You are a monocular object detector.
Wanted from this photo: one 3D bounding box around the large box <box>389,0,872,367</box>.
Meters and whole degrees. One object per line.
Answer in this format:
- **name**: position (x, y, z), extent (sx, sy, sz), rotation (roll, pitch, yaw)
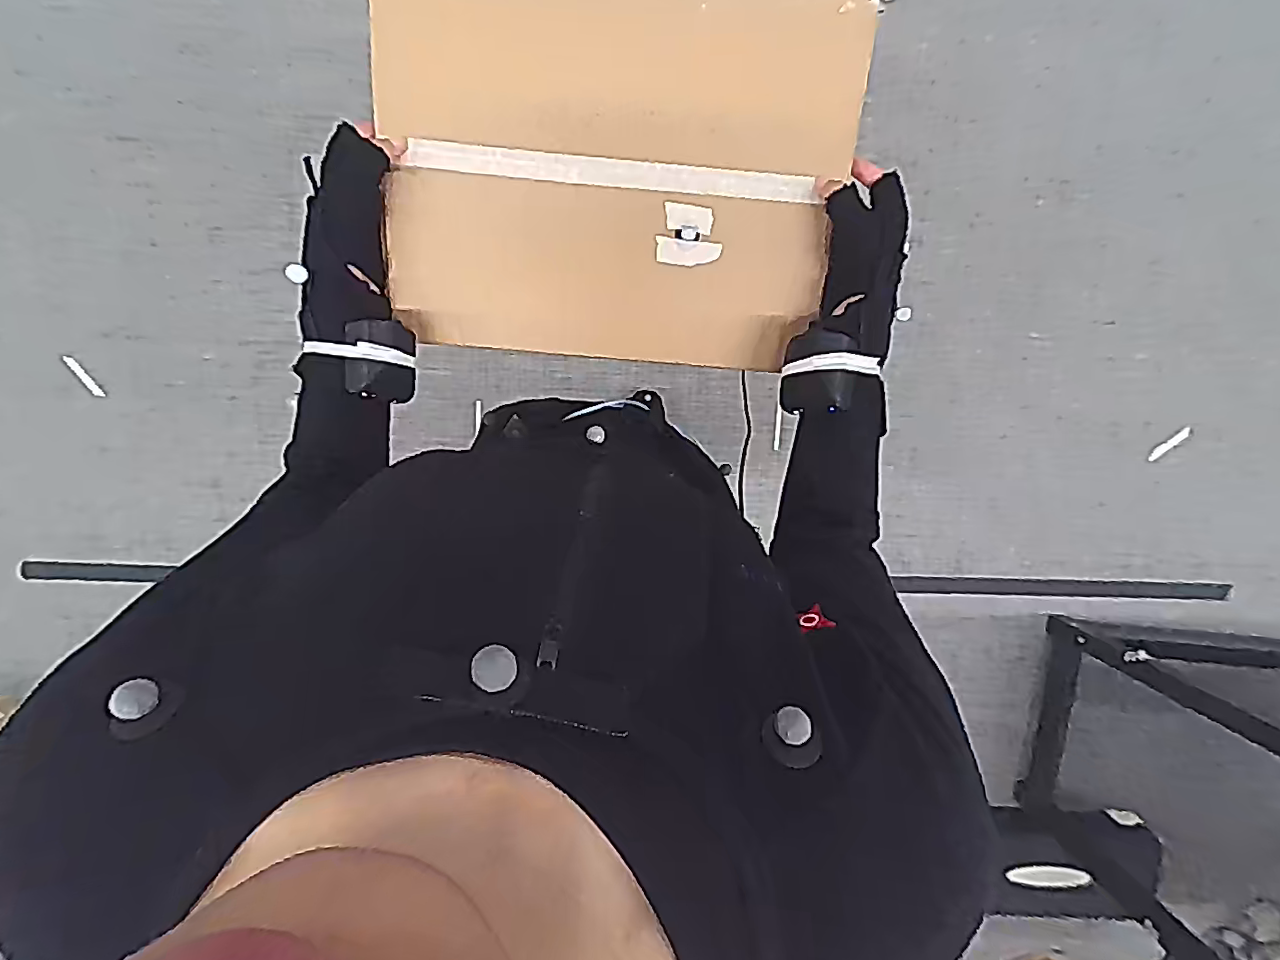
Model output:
- **large box**: position (-0.021, -0.311, 0.622), extent (0.408, 0.320, 0.320), rotation (4, 108, -4)
